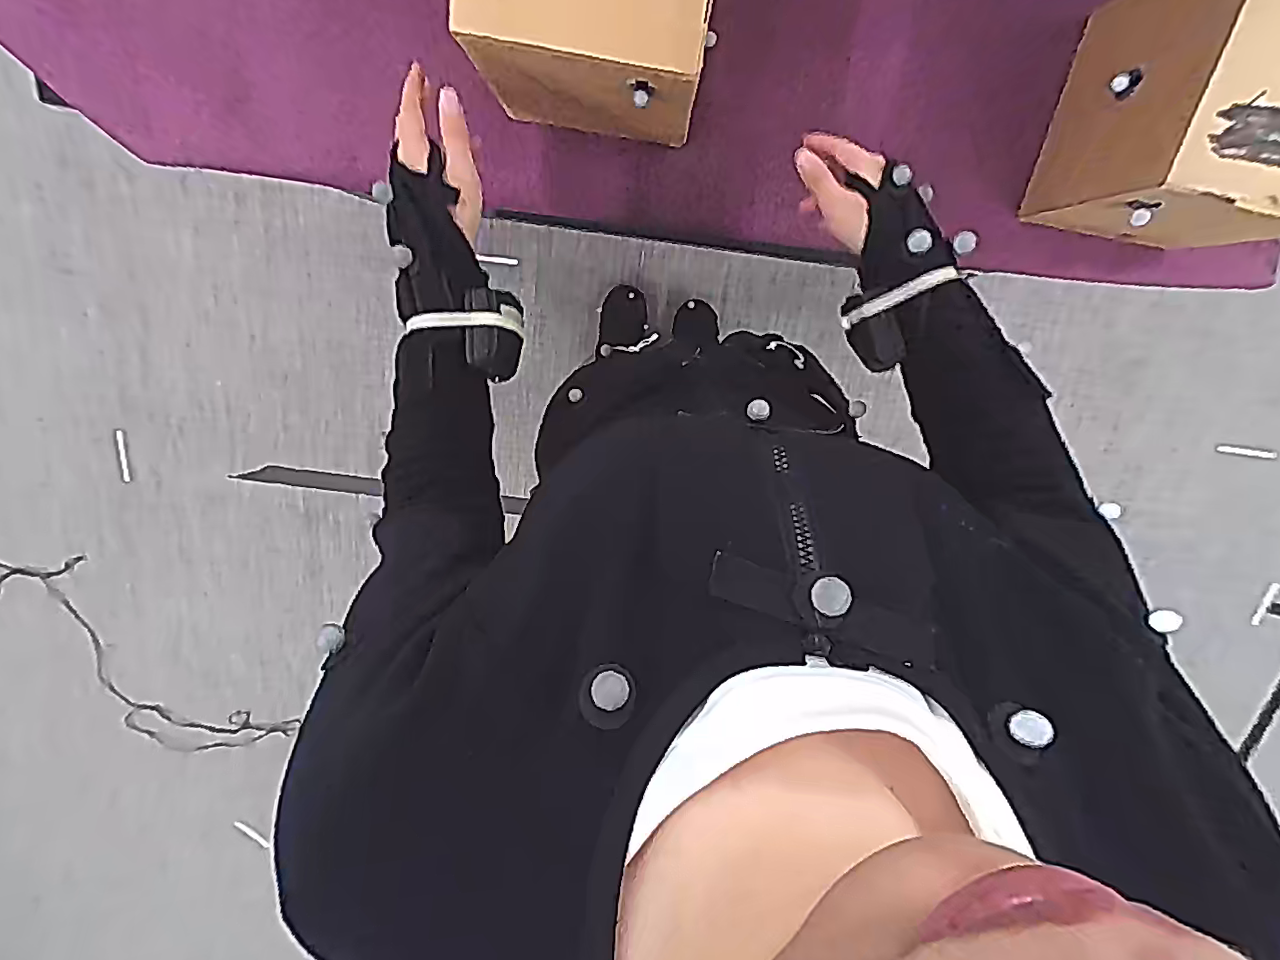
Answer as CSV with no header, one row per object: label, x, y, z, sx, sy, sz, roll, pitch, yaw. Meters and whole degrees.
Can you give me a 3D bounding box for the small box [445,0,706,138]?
small box,-0.036,-0.395,0.425,0.179,0.176,0.168,7,107,-3
